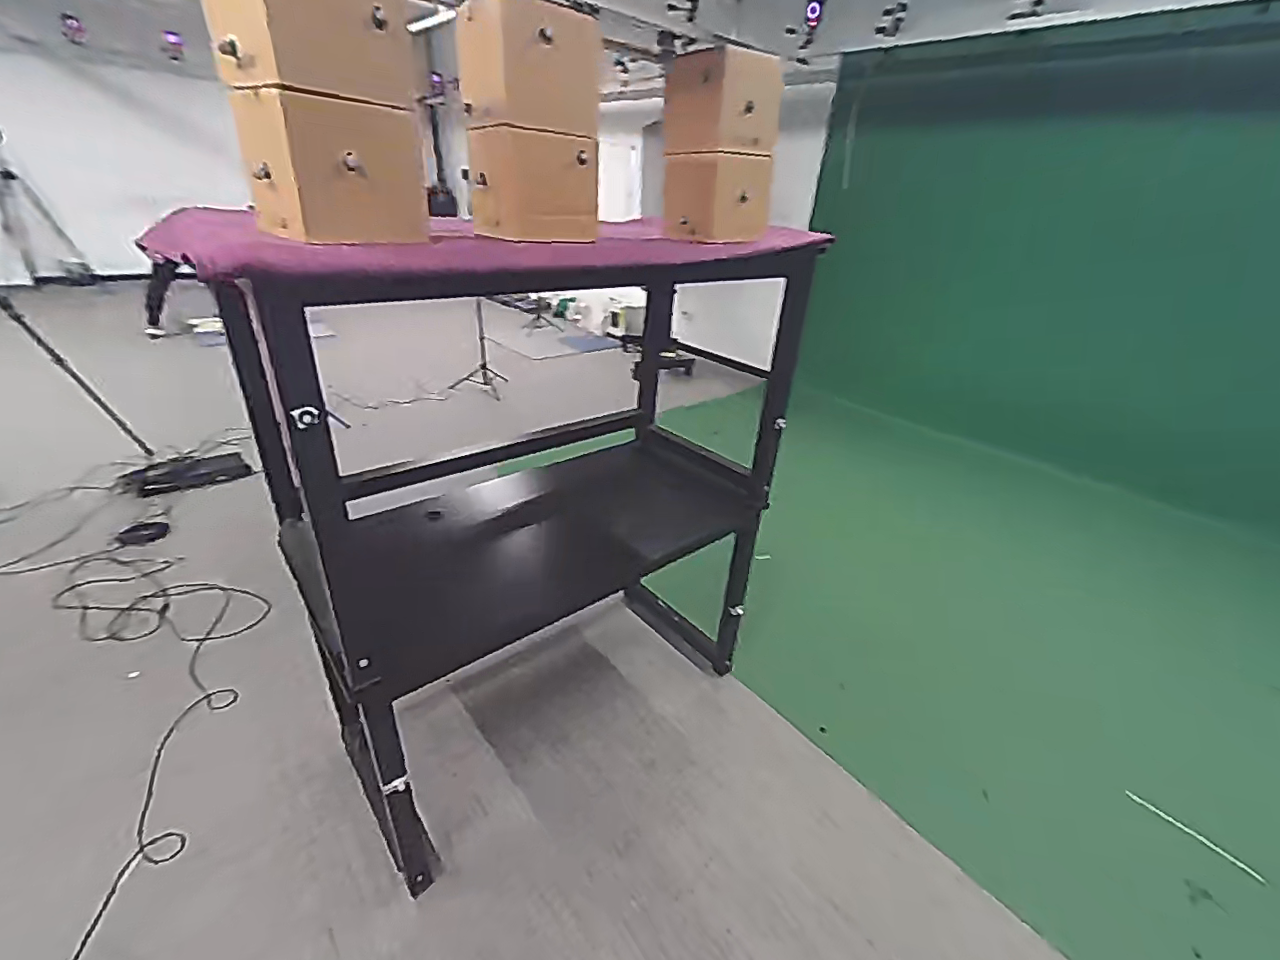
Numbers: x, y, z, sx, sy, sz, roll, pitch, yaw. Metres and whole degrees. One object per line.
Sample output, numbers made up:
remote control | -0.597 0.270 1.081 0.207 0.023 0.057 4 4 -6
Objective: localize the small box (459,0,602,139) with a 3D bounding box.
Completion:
small box | -0.178 -0.661 0.892 0.179 0.176 0.168 -16 33 -36

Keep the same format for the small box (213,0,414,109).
small box | -0.402 -0.562 0.672 0.168 0.176 0.179 22 33 31

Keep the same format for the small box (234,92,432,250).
small box | -0.413 -0.418 0.748 0.168 0.176 0.179 26 35 33

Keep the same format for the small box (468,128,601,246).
small box | -0.184 -0.512 0.963 0.179 0.176 0.168 -17 33 -36

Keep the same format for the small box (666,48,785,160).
small box | 0.169 -0.755 1.107 0.168 0.176 0.179 -19 34 -34
